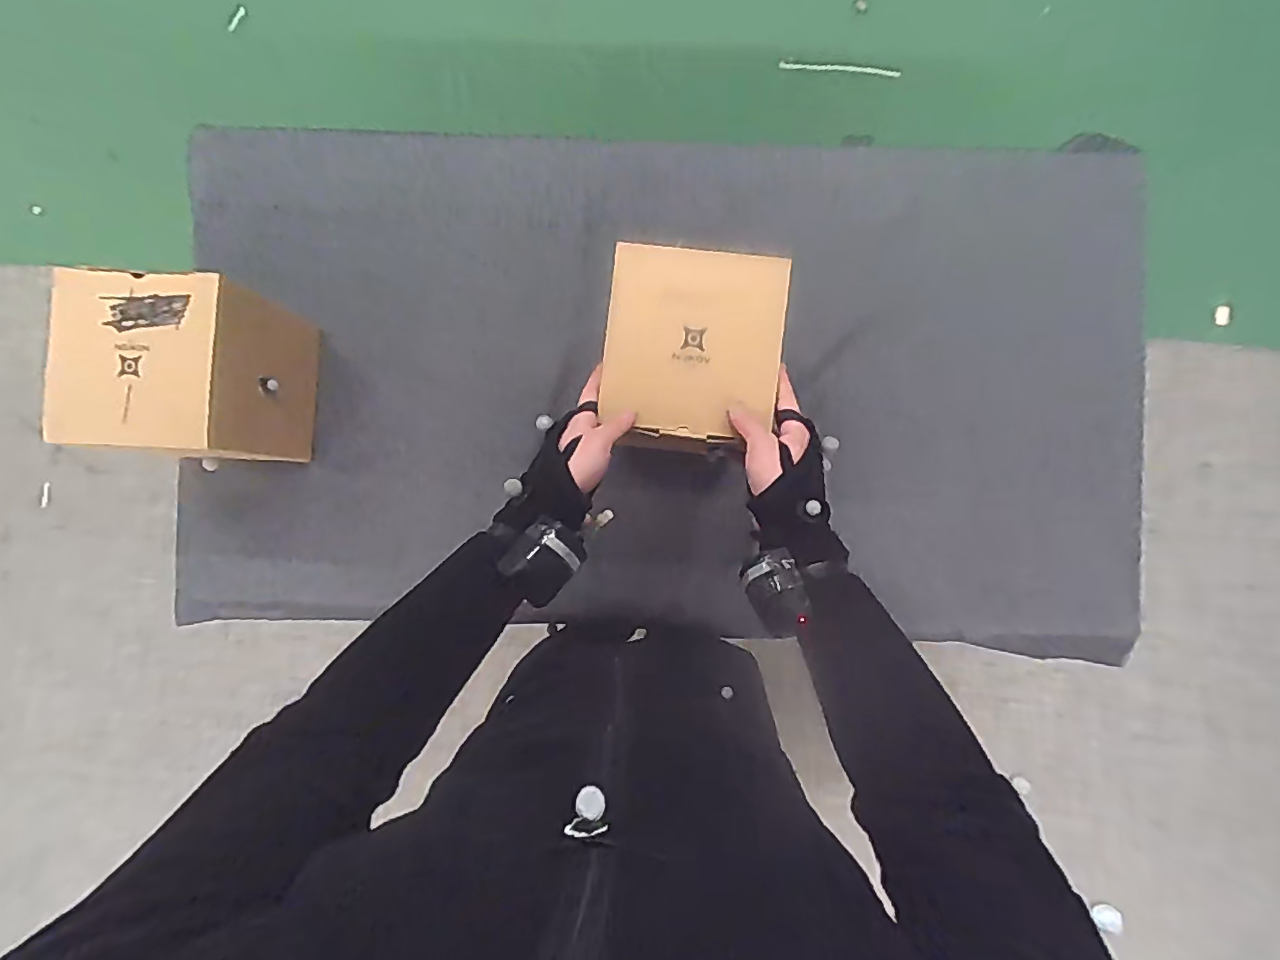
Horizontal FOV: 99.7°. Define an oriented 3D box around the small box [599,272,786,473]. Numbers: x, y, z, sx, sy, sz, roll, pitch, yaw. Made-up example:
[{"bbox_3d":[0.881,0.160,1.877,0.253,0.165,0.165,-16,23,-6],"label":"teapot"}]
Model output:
[{"bbox_3d":[0.052,-0.102,0.592,0.168,0.176,0.179,5,87,1],"label":"small box"}]
